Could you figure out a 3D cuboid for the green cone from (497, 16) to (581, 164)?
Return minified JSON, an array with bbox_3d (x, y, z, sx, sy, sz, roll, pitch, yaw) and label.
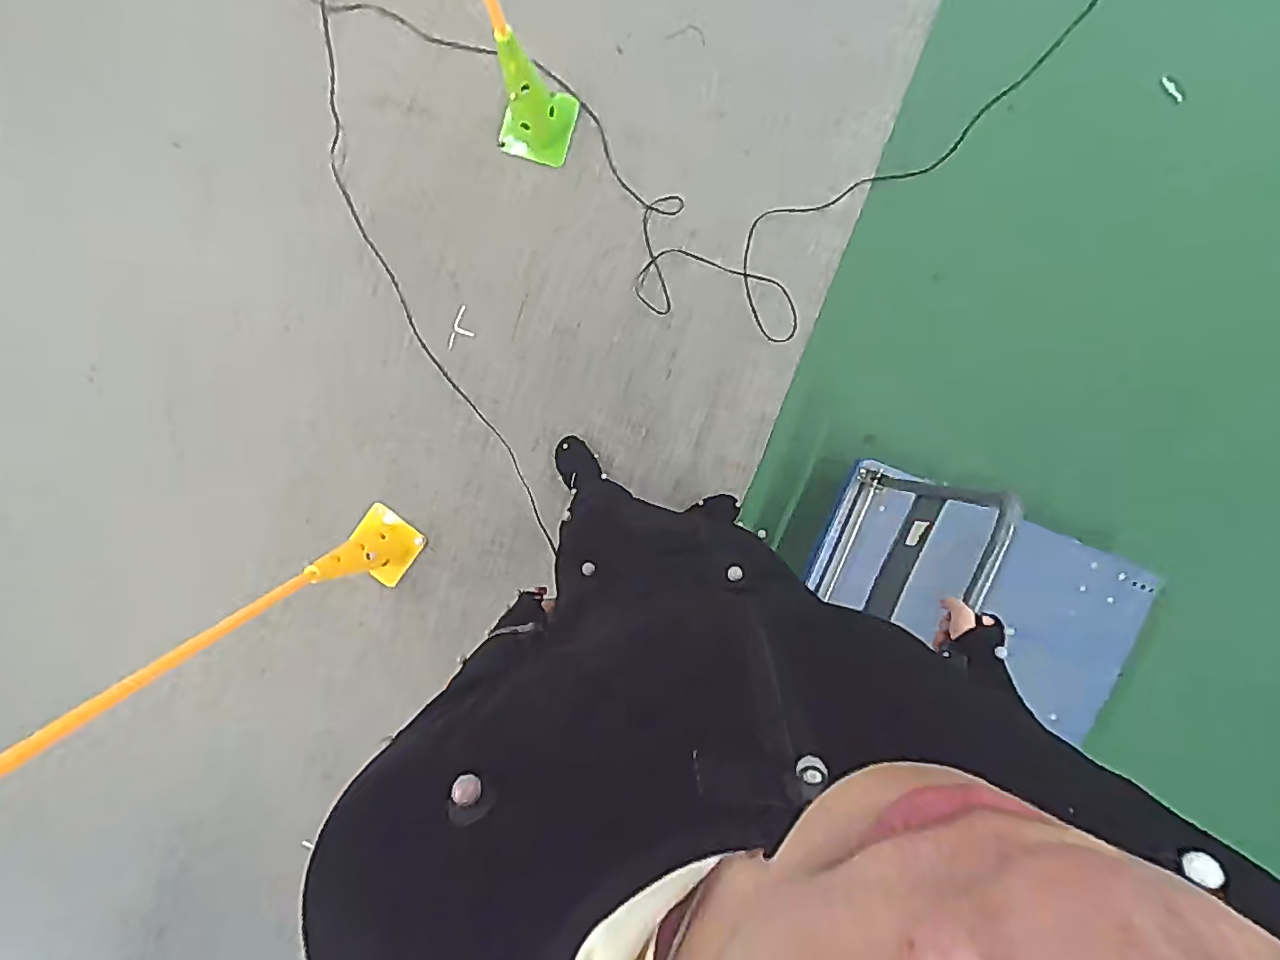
[{"bbox_3d":[-0.289,-1.012,1.372,0.200,0.368,0.202,17,94,1],"label":"green cone"}]
